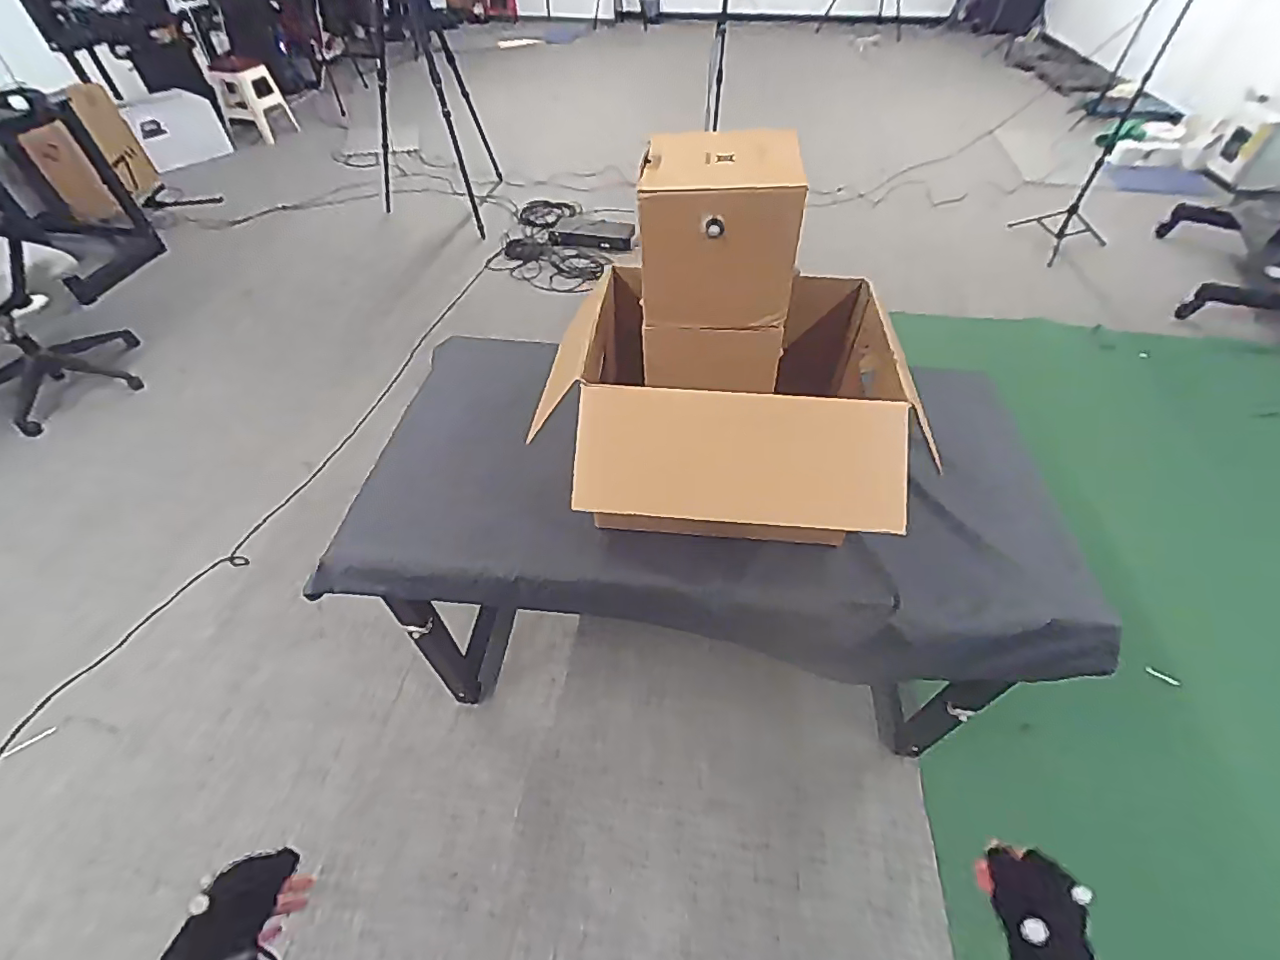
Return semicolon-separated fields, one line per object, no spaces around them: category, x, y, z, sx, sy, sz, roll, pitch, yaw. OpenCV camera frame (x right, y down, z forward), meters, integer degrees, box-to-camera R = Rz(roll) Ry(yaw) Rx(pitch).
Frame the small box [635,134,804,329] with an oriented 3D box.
small box;0.092;-0.301;0.665;0.179;0.176;0.168;2;51;5
